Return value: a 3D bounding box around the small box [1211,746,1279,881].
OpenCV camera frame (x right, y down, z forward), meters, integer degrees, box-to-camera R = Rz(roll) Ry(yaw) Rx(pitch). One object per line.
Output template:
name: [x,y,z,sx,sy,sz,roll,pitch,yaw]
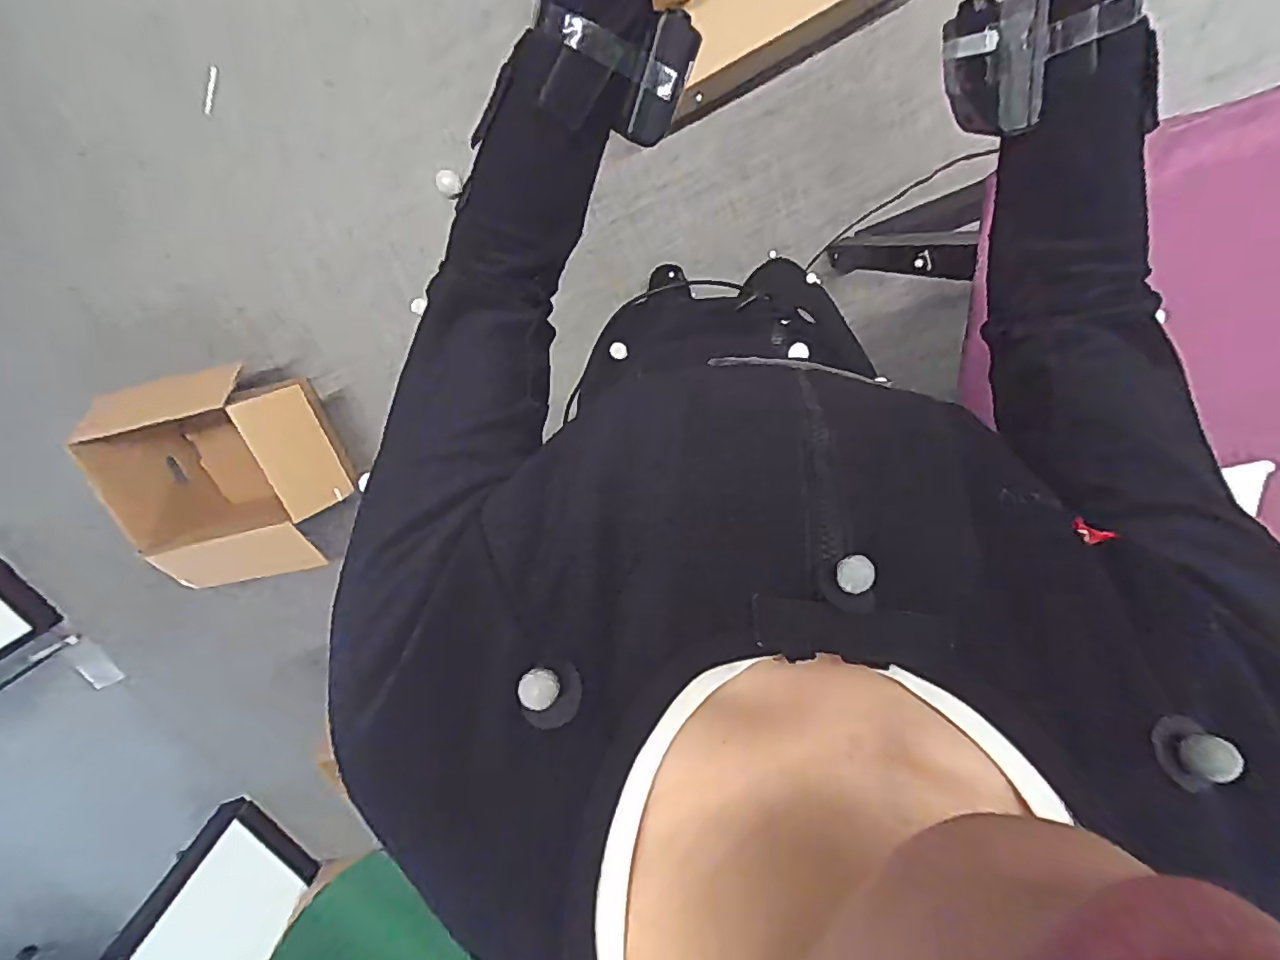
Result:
small box: [1.060,0.532,0.847,0.179,0.176,0.168,-20,111,10]
